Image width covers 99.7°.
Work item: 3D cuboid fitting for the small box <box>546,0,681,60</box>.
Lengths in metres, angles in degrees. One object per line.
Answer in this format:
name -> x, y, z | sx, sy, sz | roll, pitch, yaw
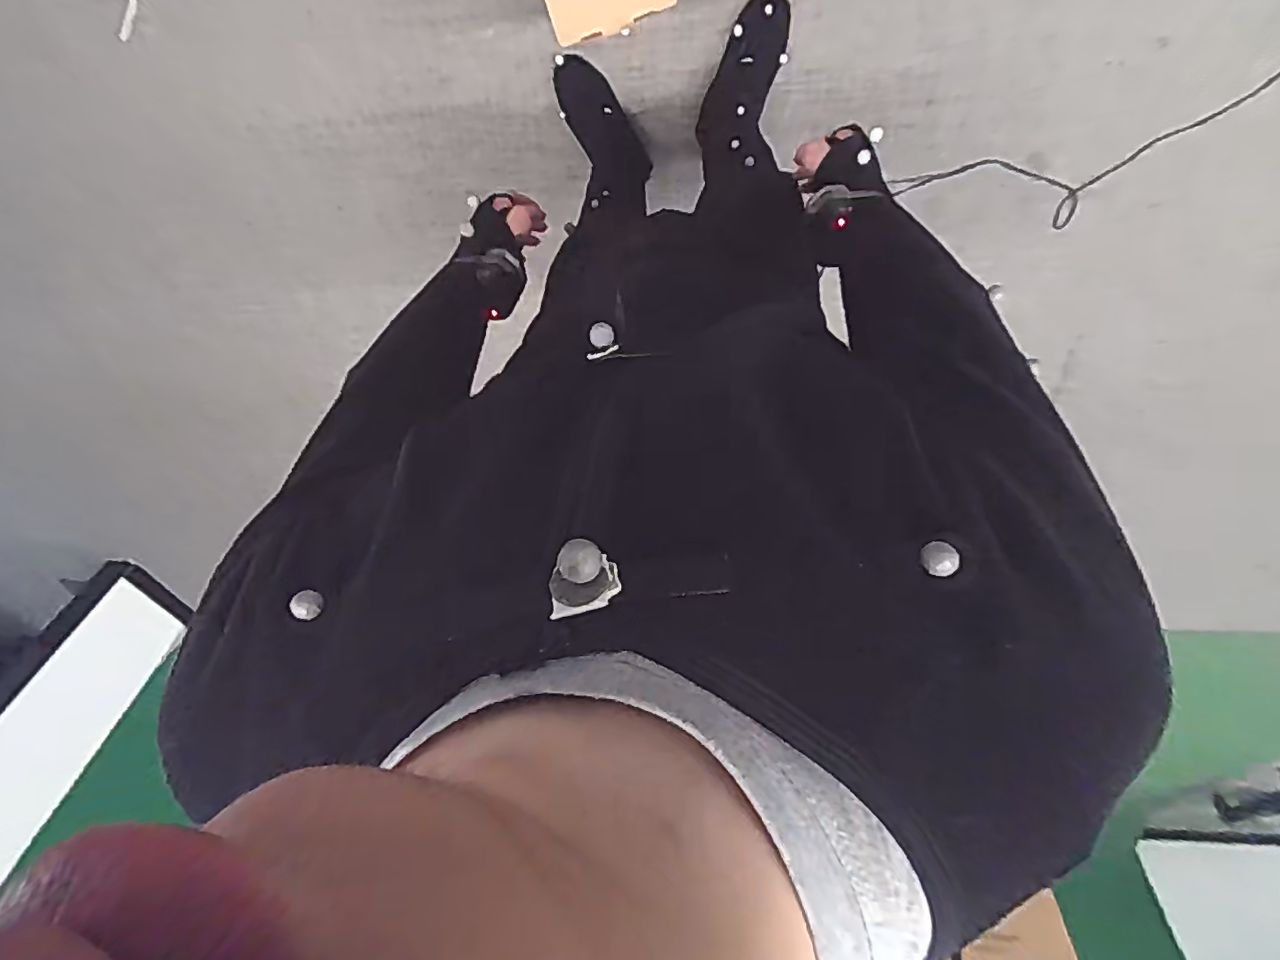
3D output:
small box -> -0.042, -0.695, 0.707 | 0.168, 0.176, 0.179 | -9, 134, 15
